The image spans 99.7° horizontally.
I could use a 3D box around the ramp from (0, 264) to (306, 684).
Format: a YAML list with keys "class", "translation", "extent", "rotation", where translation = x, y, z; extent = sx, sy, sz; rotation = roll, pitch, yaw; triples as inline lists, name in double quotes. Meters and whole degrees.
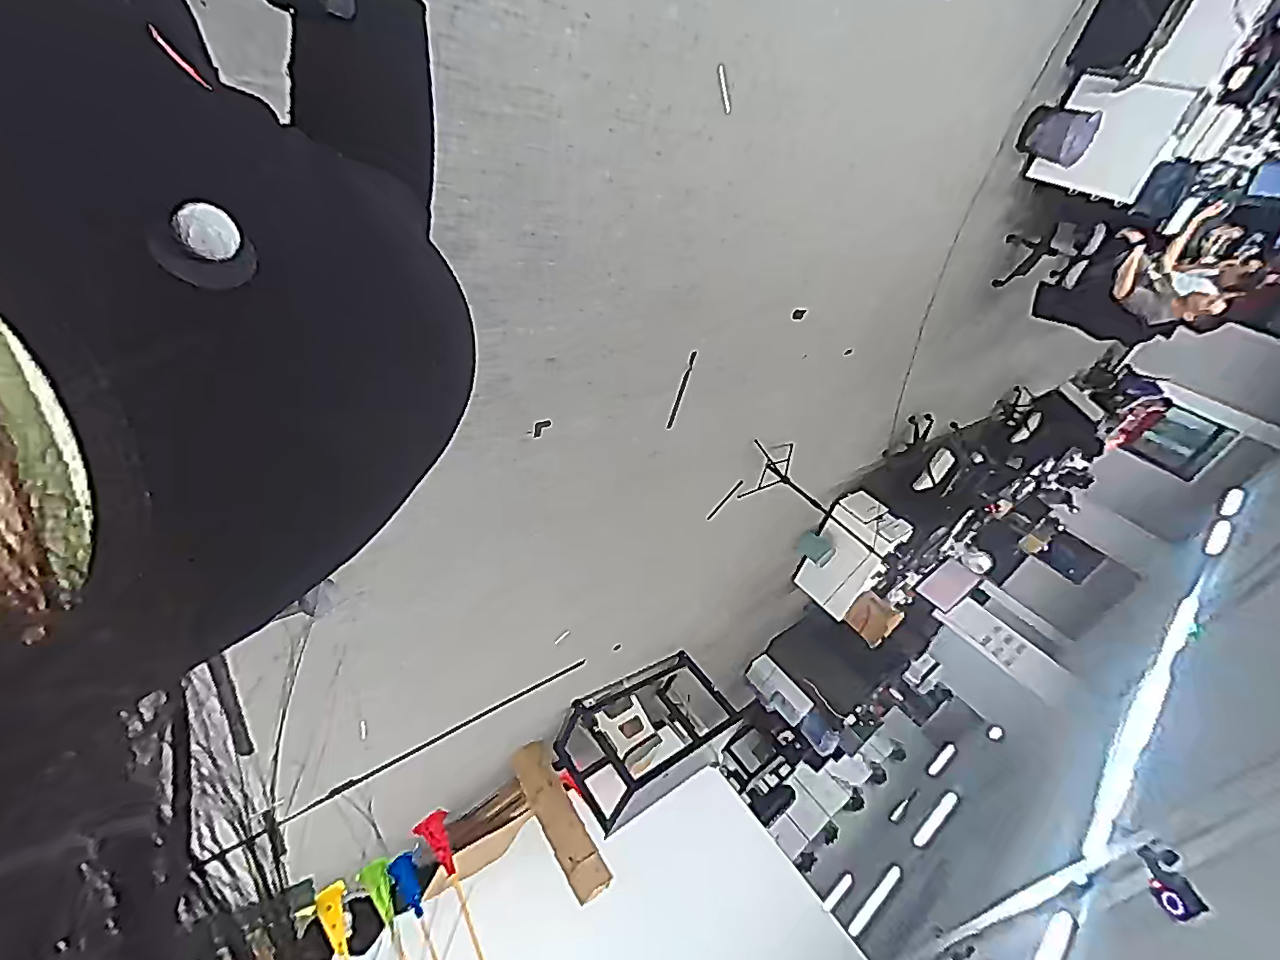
- class: "ramp"
  translation: [-1.157, 0.021, 1.276]
  extent: [0.509, 0.206, 0.991]
  rotation: [-18, 137, -36]
